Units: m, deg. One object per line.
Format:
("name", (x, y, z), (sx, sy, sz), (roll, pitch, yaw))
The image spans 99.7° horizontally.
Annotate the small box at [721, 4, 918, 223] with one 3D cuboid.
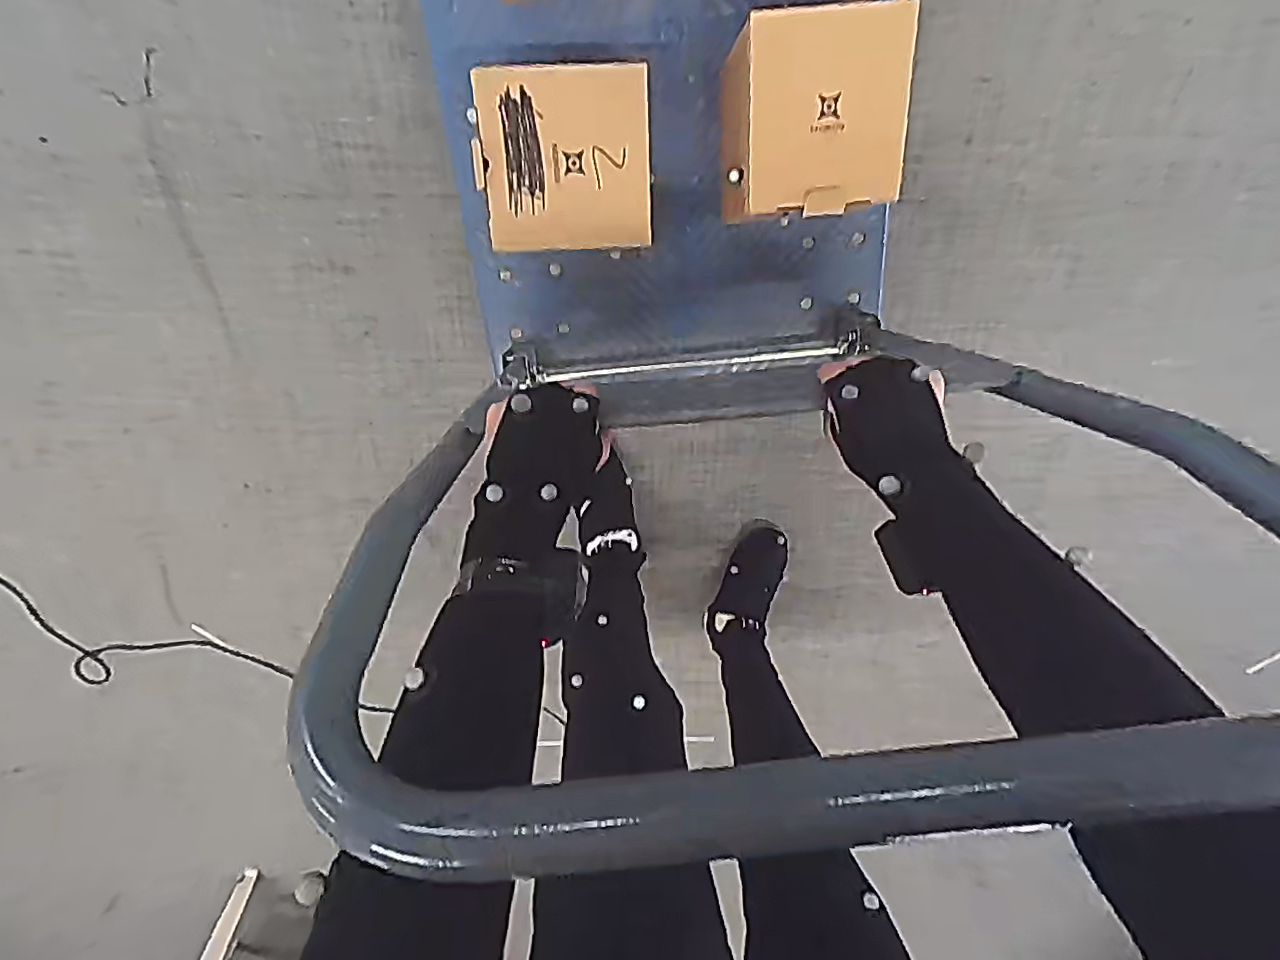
("small box", (0.189, -0.401, 0.622), (0.168, 0.176, 0.179), (-4, 113, 0))
